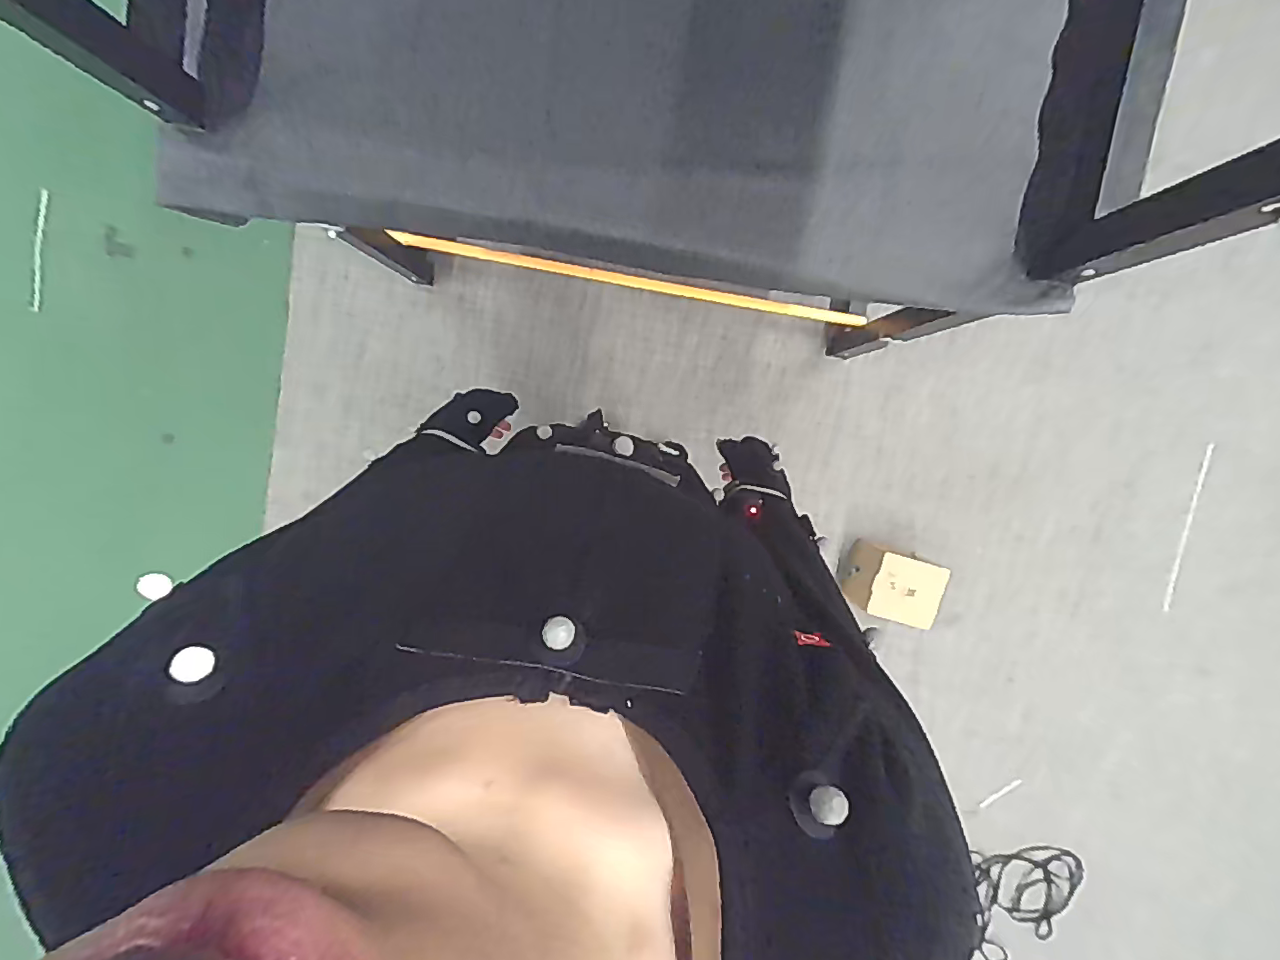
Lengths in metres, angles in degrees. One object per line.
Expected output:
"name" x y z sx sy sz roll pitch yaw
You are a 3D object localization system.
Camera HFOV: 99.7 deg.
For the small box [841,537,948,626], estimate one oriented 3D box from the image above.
"small box" 0.666 0.261 1.435 0.179 0.176 0.168 16 96 -1
